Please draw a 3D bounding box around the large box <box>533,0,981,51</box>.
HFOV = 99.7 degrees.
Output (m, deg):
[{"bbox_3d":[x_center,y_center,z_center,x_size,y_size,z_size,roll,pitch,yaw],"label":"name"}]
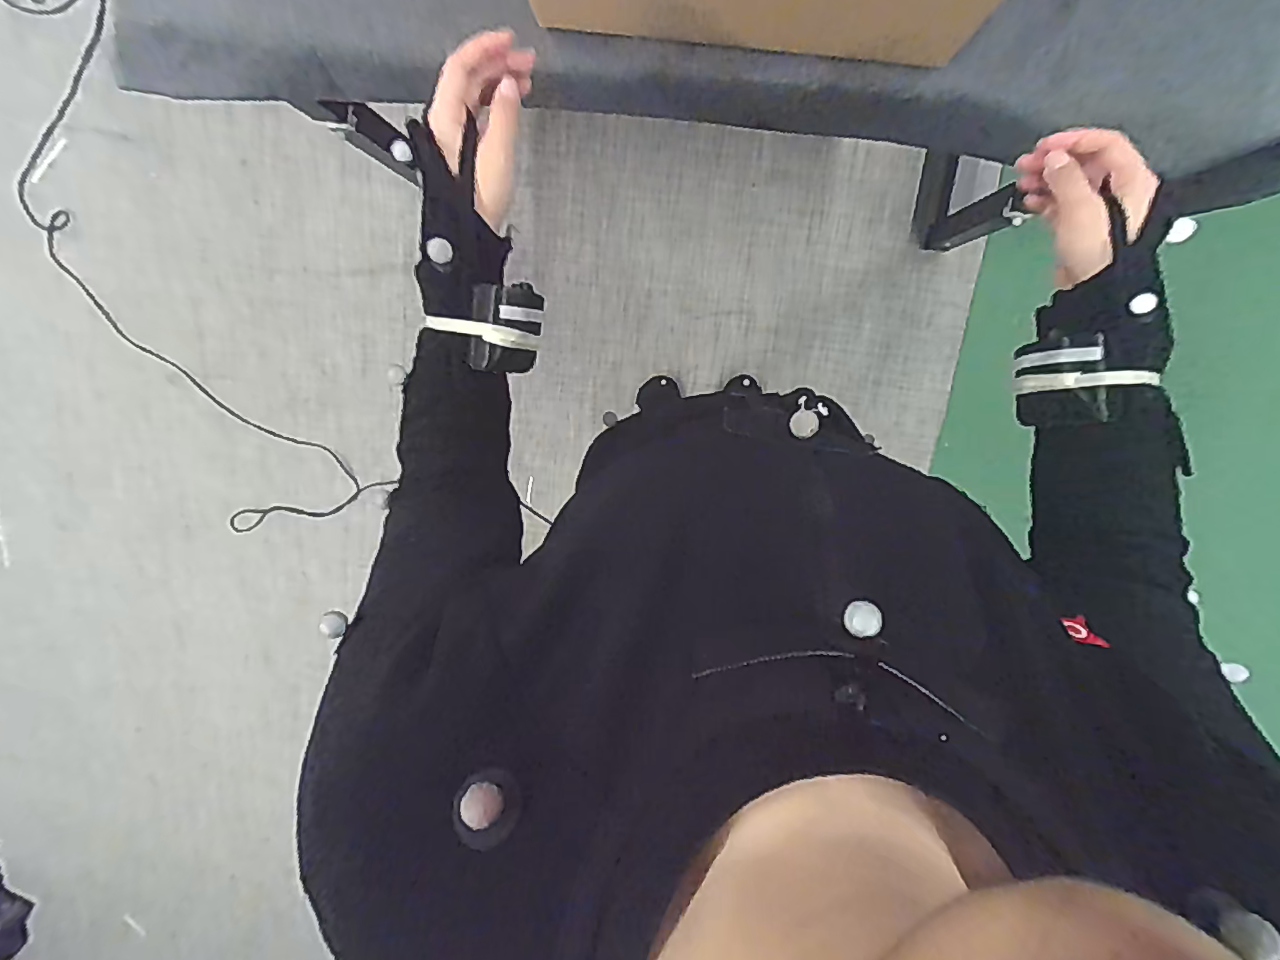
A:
[{"bbox_3d":[0.102,-0.551,0.356,0.408,0.320,0.320,6,102,1],"label":"large box"}]
